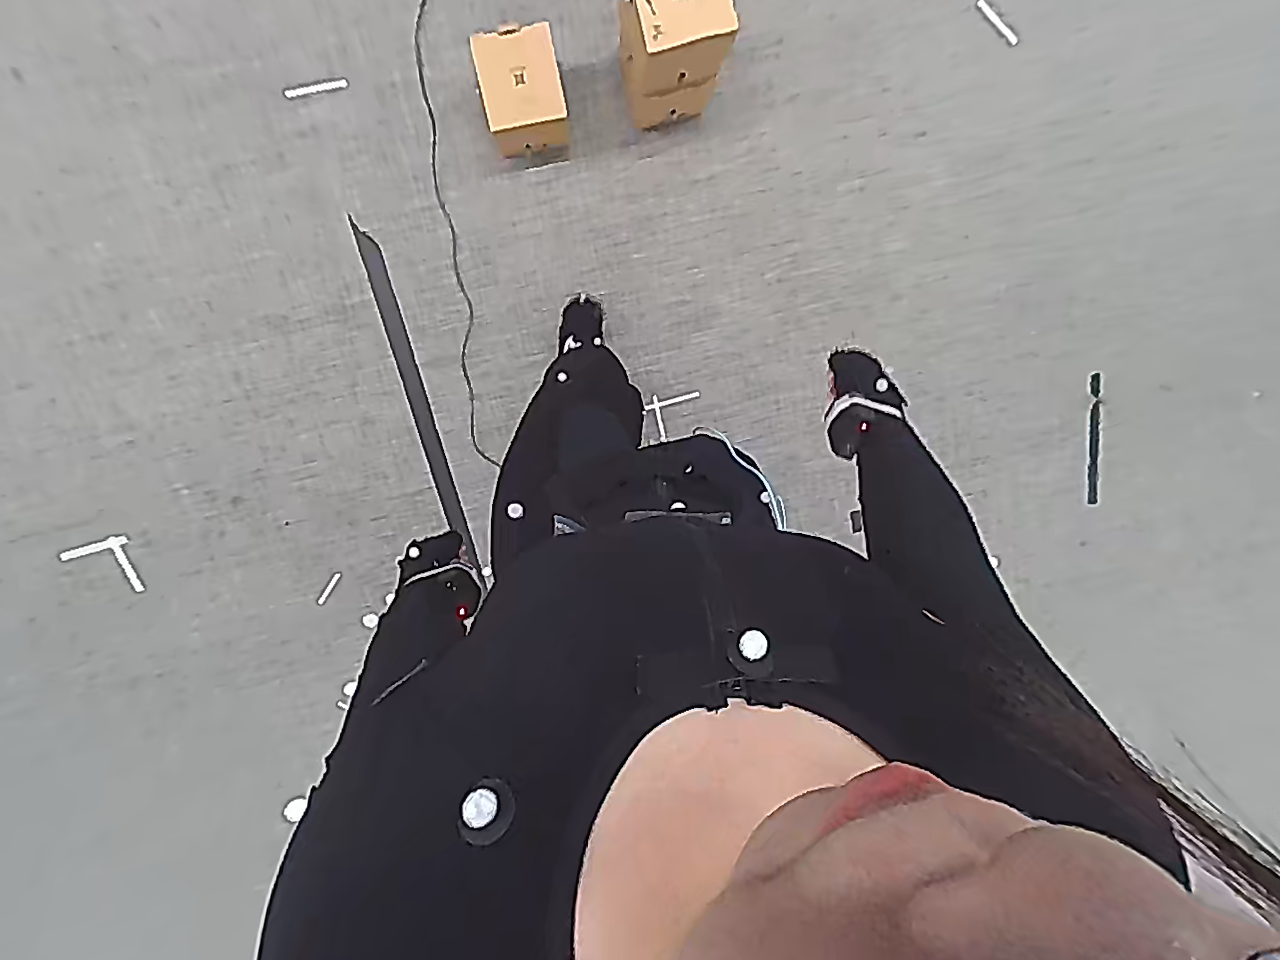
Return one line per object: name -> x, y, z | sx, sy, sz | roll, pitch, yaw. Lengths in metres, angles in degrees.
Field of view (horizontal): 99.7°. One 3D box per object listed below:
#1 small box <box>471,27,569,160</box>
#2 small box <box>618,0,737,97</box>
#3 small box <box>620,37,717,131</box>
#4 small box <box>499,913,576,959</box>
small box -> -0.254, -0.833, 1.182 | 0.168, 0.176, 0.179 | -12, 105, -2
small box -> 0.066, -0.873, 1.032 | 0.179, 0.176, 0.168 | -16, 104, -2
small box -> 0.057, -0.912, 1.192 | 0.168, 0.176, 0.179 | -16, 105, -1
small box -> -0.252, 1.219, 1.338 | 0.179, 0.176, 0.168 | -8, 105, -2
